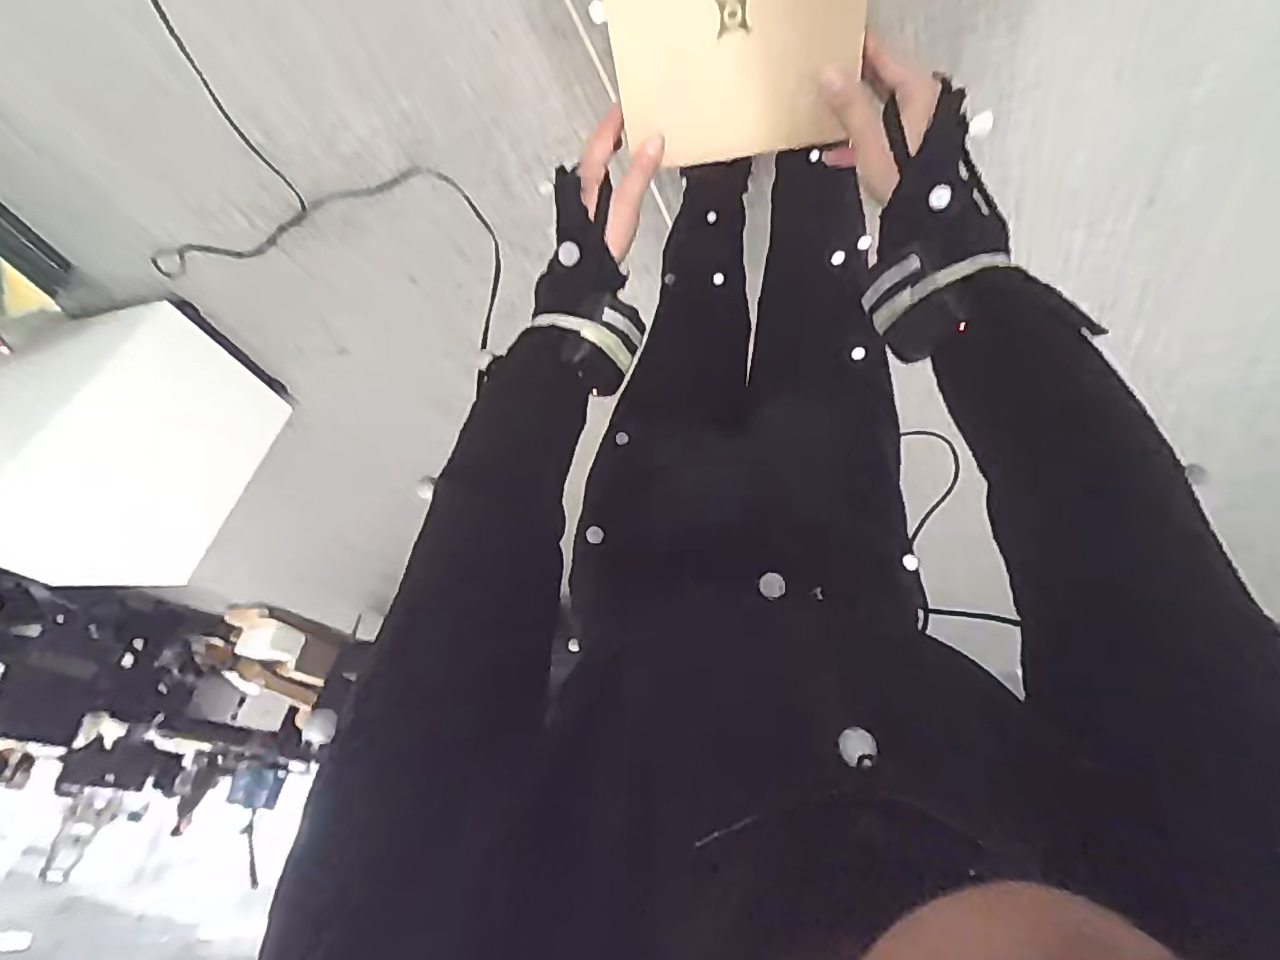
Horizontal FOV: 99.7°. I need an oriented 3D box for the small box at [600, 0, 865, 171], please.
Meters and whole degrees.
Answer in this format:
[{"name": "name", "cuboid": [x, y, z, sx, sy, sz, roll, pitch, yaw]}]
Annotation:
[{"name": "small box", "cuboid": [0.067, -0.356, 0.392, 0.168, 0.176, 0.179, -2, 136, 12]}]
